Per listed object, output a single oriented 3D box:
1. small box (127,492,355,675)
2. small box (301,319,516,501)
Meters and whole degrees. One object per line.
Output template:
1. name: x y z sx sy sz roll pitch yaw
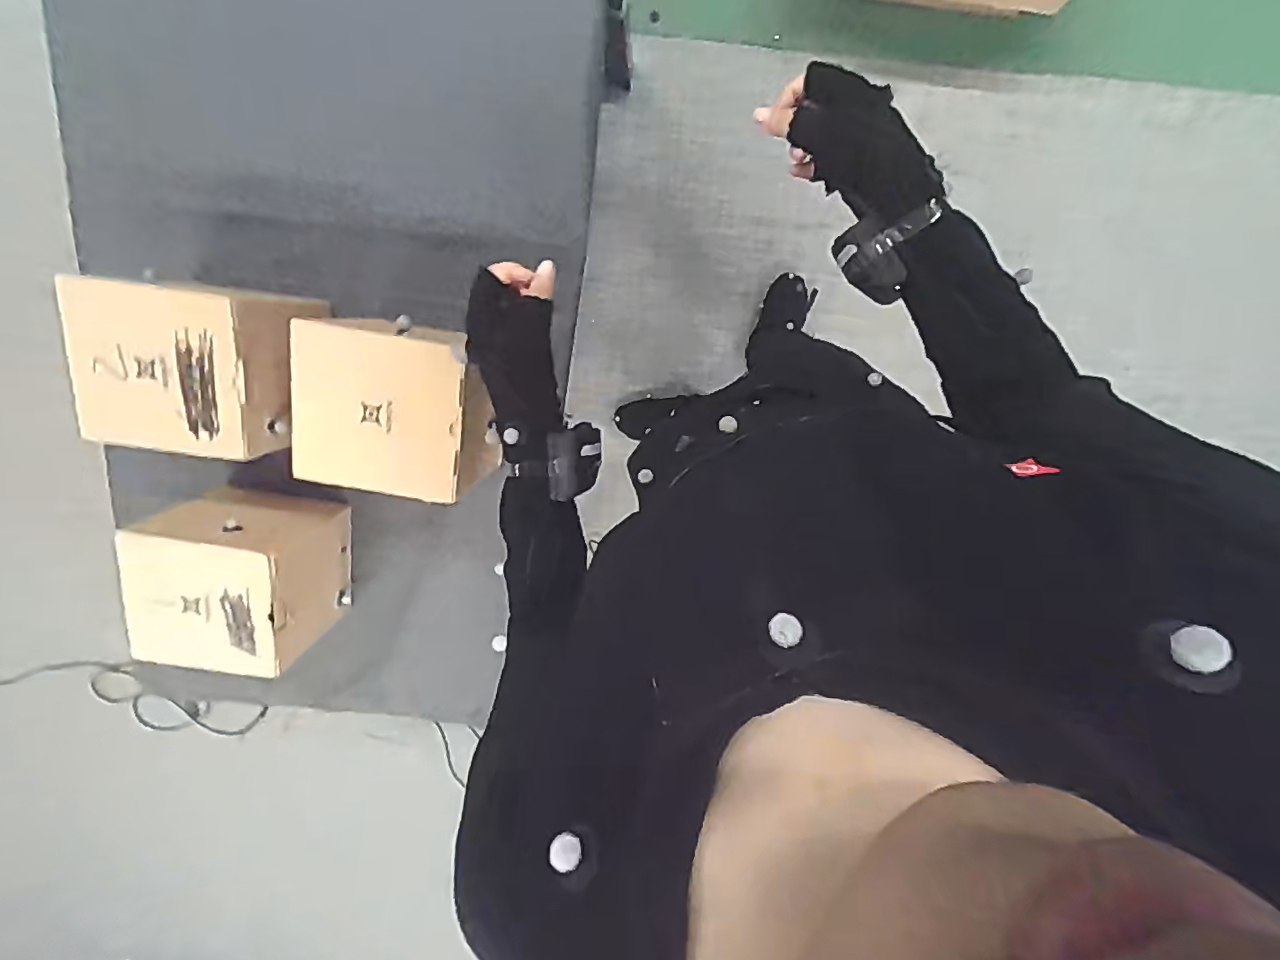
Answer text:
1. small box: -0.495 0.123 0.701 0.179 0.176 0.168 9 105 0
2. small box: -0.260 -0.088 0.635 0.179 0.176 0.168 10 105 0
